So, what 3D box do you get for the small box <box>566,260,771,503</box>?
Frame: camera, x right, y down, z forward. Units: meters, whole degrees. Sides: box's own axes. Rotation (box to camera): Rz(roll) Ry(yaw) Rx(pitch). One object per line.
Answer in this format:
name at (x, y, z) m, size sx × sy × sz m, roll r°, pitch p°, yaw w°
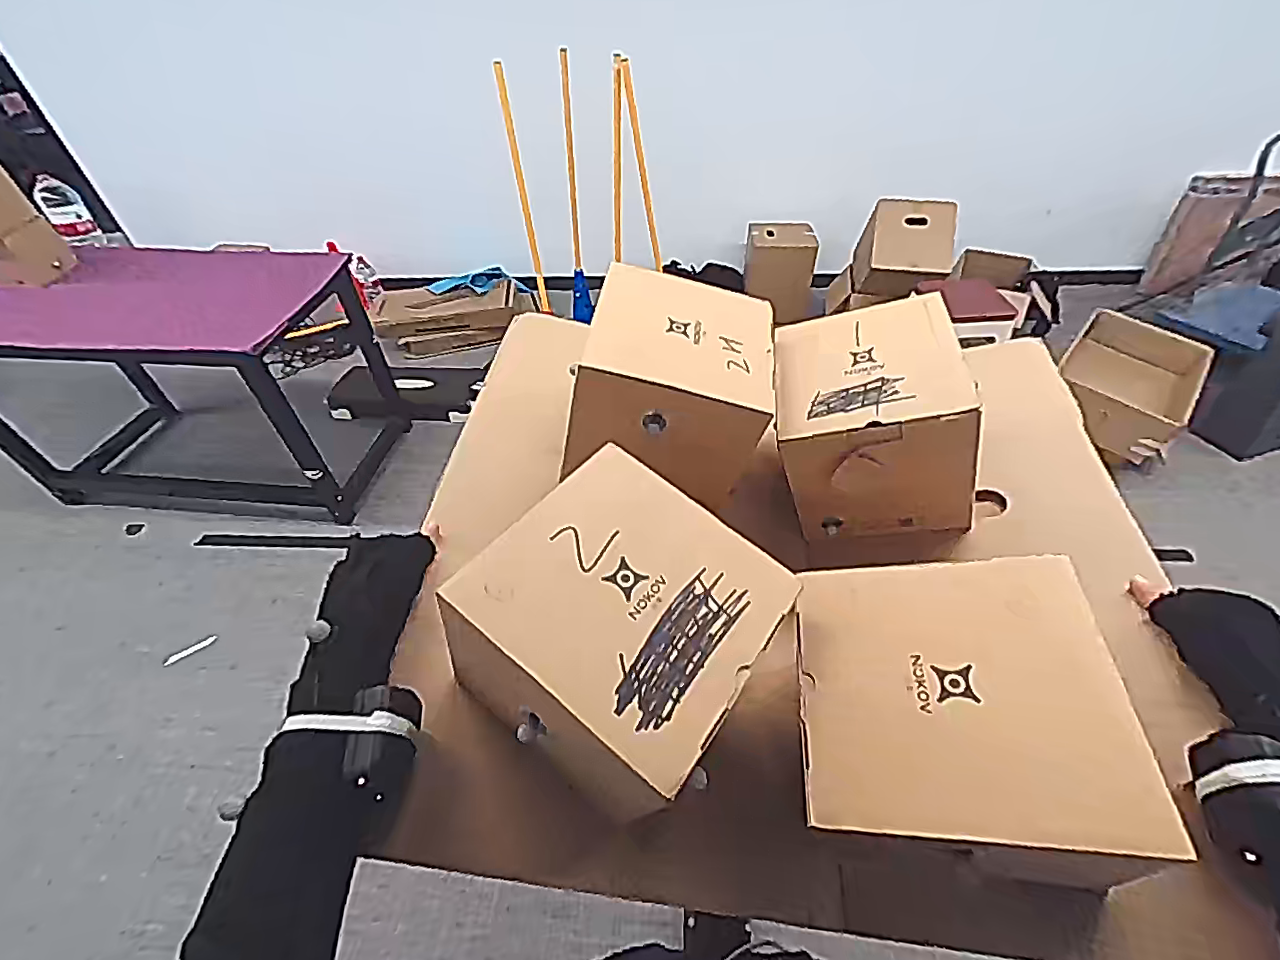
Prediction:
small box at (0.026, -0.097, 0.575) m, size 0.179 × 0.176 × 0.168 m, roll 14°, pitch 52°, yaw -5°
